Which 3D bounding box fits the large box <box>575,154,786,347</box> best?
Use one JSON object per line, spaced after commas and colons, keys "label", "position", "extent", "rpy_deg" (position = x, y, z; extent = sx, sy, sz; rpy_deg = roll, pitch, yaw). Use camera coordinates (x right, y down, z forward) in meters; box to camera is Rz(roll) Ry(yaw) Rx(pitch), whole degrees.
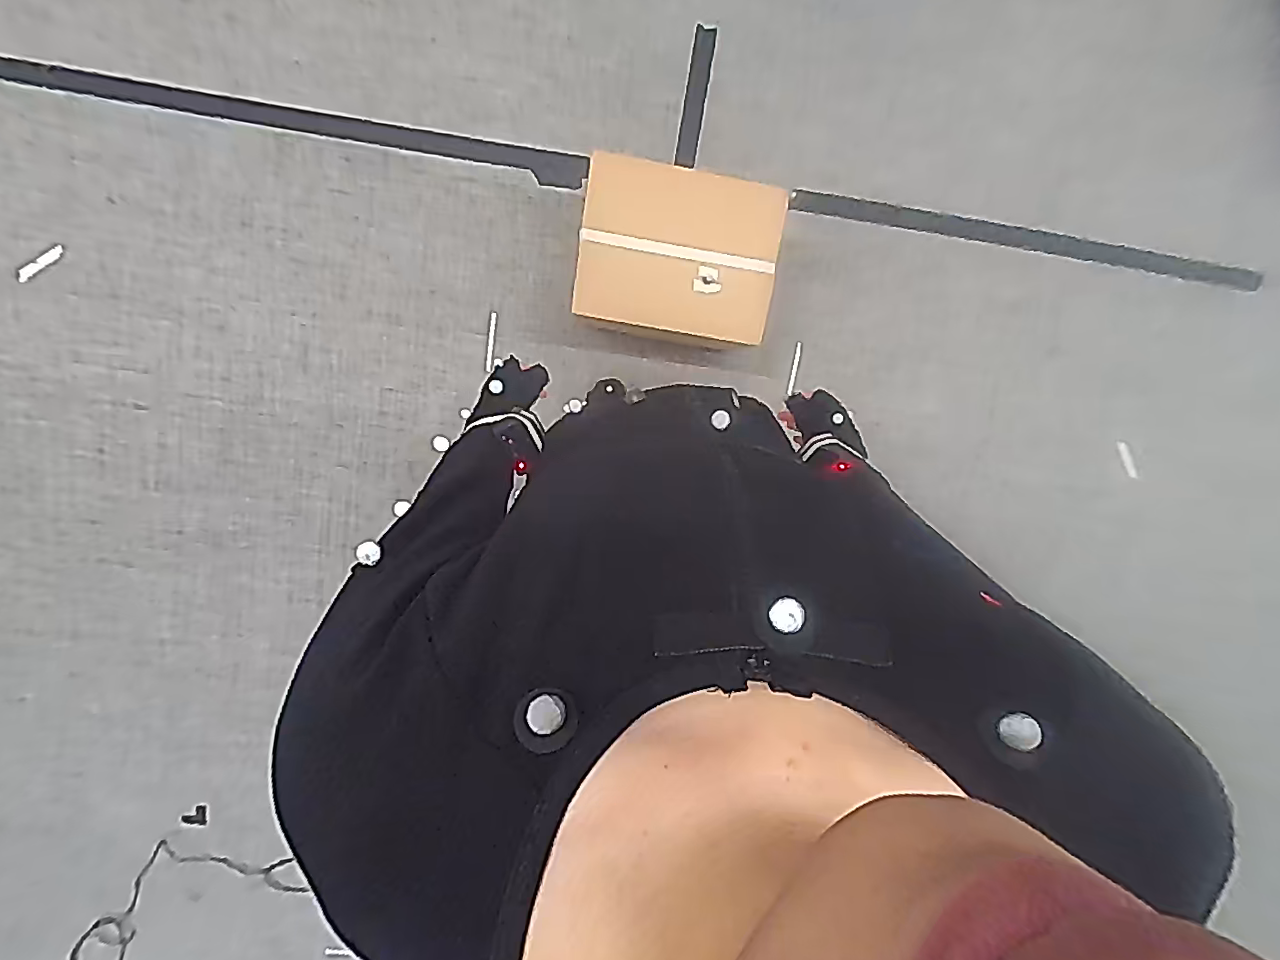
{"label": "large box", "position": [0.068, -0.496, 1.248], "extent": [0.408, 0.320, 0.320], "rpy_deg": [8, 102, -6]}
